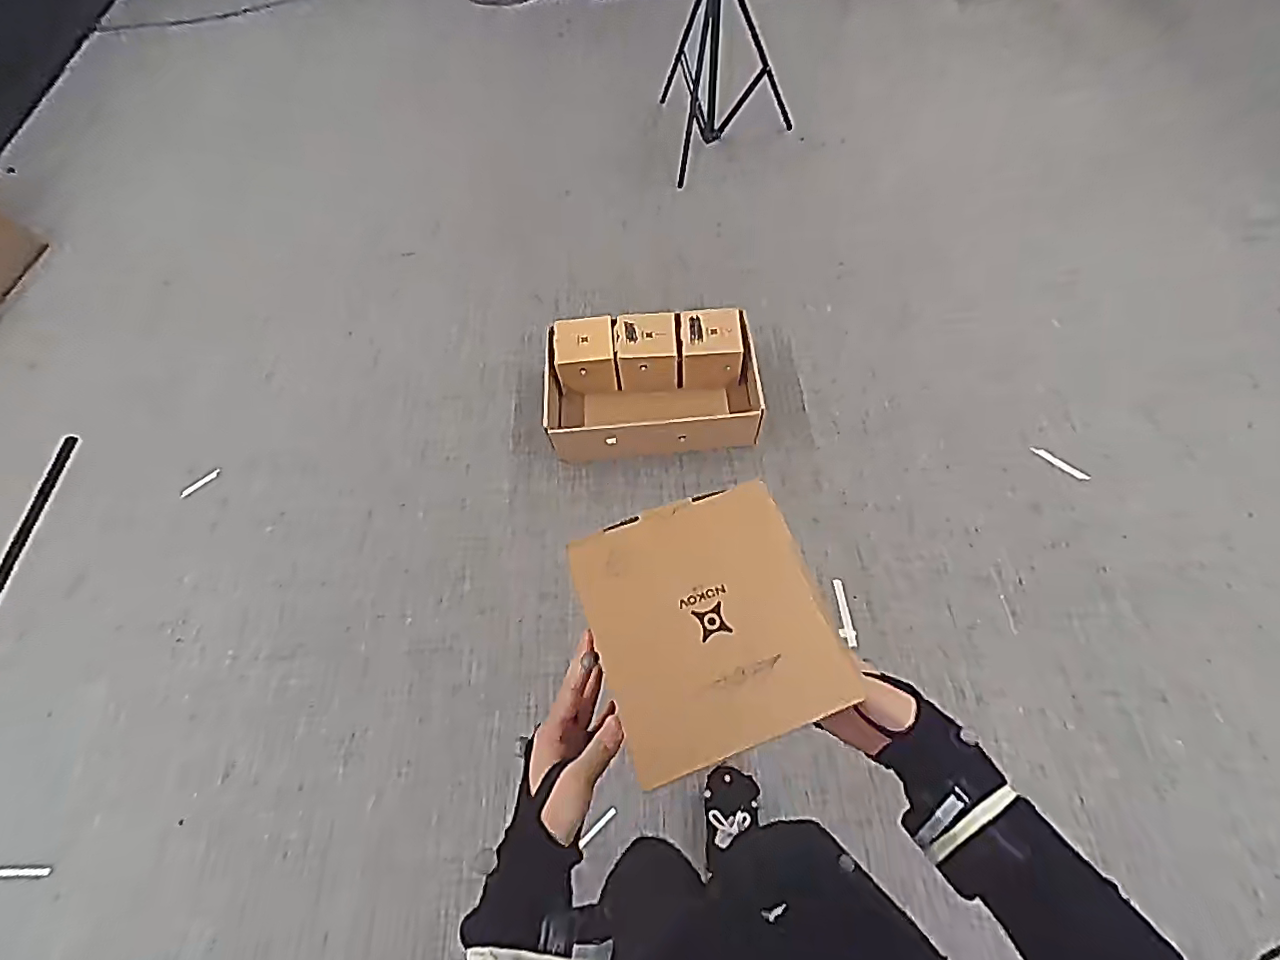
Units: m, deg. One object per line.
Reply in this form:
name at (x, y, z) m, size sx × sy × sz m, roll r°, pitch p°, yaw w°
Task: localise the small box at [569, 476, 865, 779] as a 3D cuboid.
small box at (0.045, 0.126, 0.456) m, size 0.168 × 0.176 × 0.179 m, roll -17°, pitch 68°, yaw -10°
